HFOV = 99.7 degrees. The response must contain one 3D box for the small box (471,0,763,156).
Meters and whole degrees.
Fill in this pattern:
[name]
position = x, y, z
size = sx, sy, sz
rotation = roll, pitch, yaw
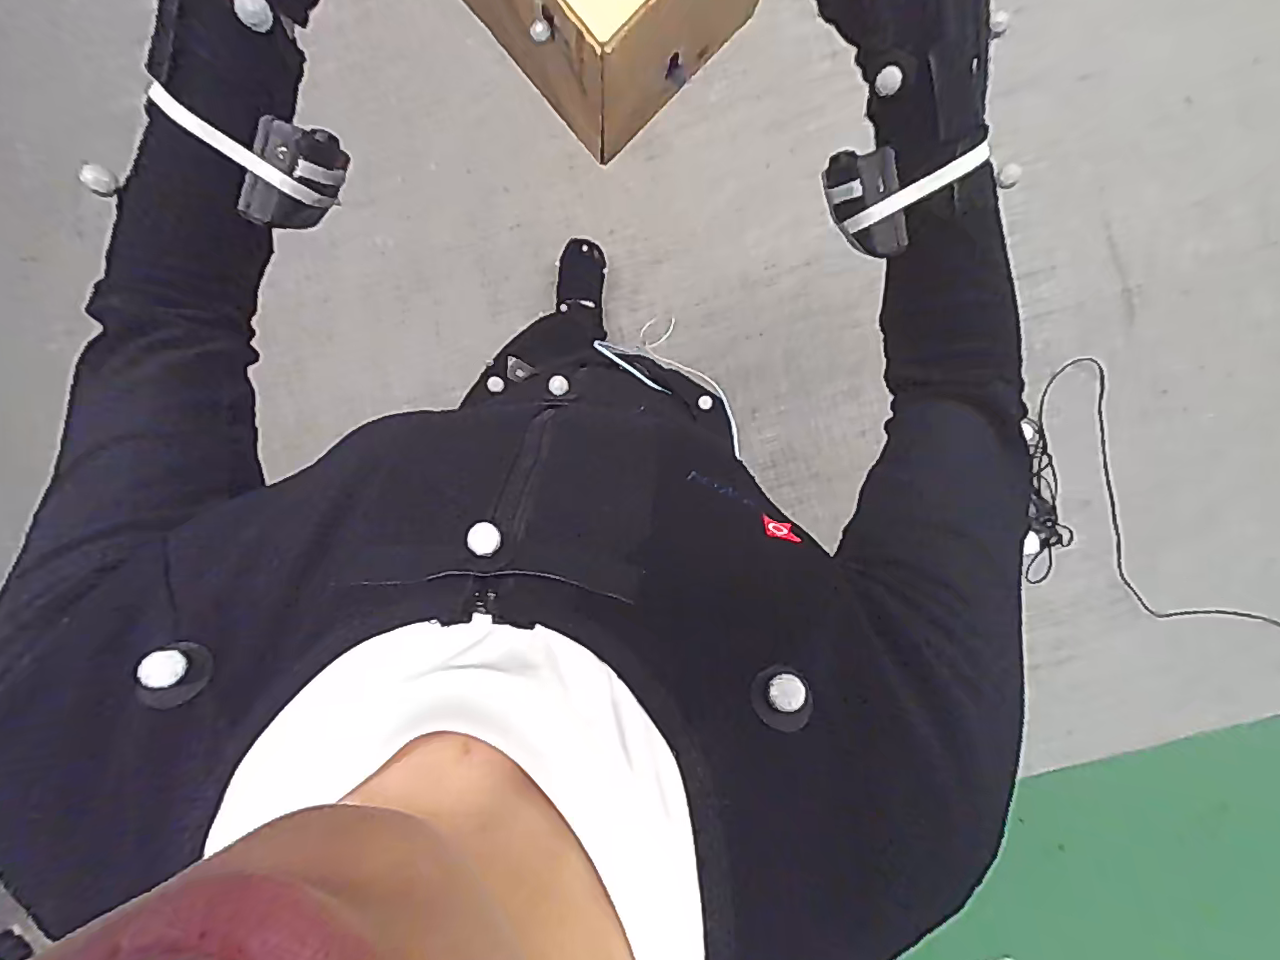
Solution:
[small box]
position = -0.019, -0.356, 0.345
size = 0.168, 0.176, 0.179
rotation = -43, 102, 5
